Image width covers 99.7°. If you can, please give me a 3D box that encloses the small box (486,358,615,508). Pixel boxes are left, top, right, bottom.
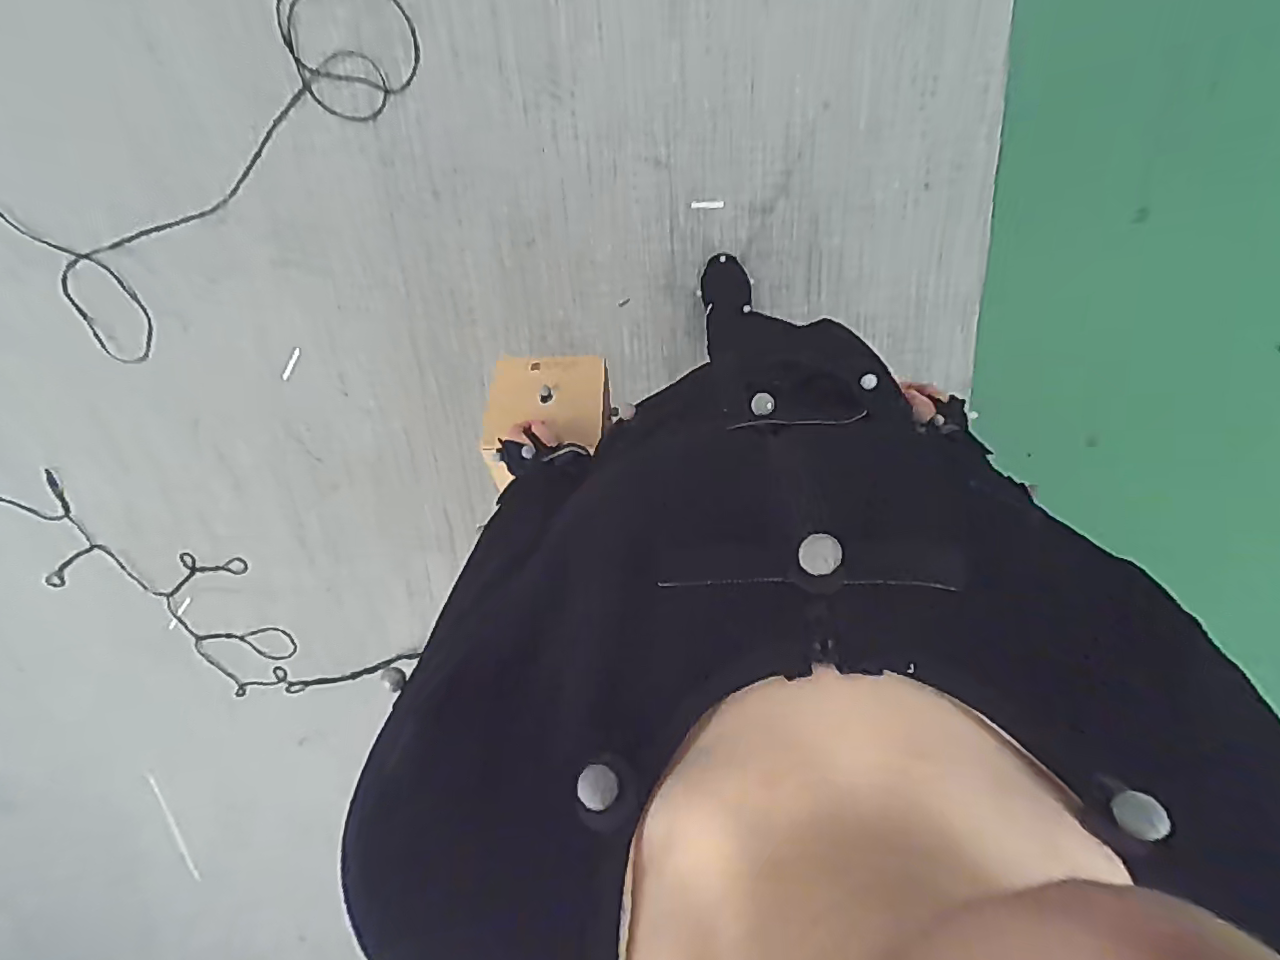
[{"bbox_3d":[-0.129,-0.075,0.838,0.168,0.176,0.179,-3,148,1],"label":"small box"}]
